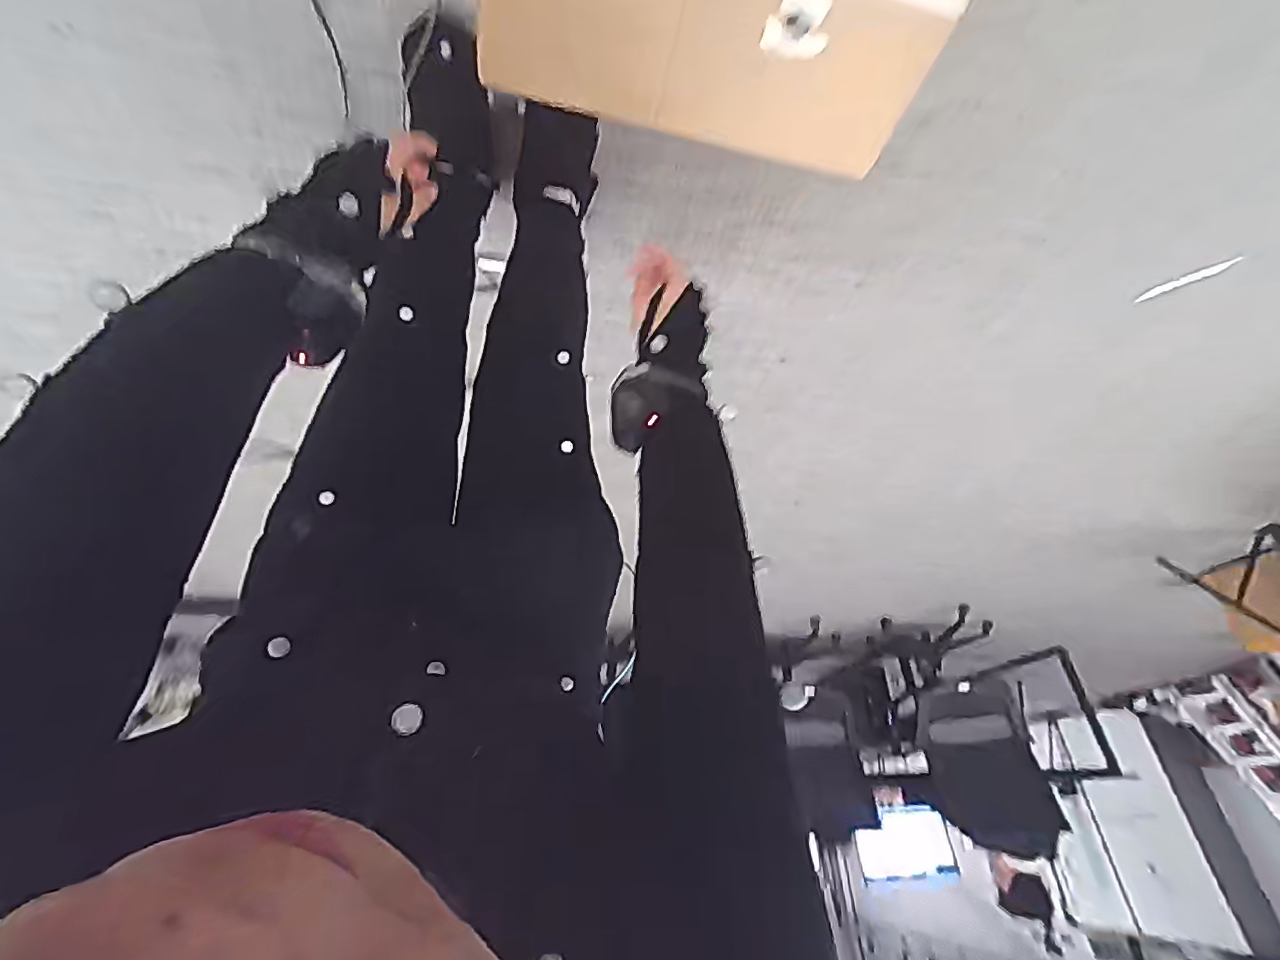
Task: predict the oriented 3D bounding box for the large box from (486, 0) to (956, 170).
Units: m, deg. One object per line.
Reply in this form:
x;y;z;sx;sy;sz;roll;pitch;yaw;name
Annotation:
0.074;-0.560;0.508;0.408;0.320;0.320;6;146;-13;large box
